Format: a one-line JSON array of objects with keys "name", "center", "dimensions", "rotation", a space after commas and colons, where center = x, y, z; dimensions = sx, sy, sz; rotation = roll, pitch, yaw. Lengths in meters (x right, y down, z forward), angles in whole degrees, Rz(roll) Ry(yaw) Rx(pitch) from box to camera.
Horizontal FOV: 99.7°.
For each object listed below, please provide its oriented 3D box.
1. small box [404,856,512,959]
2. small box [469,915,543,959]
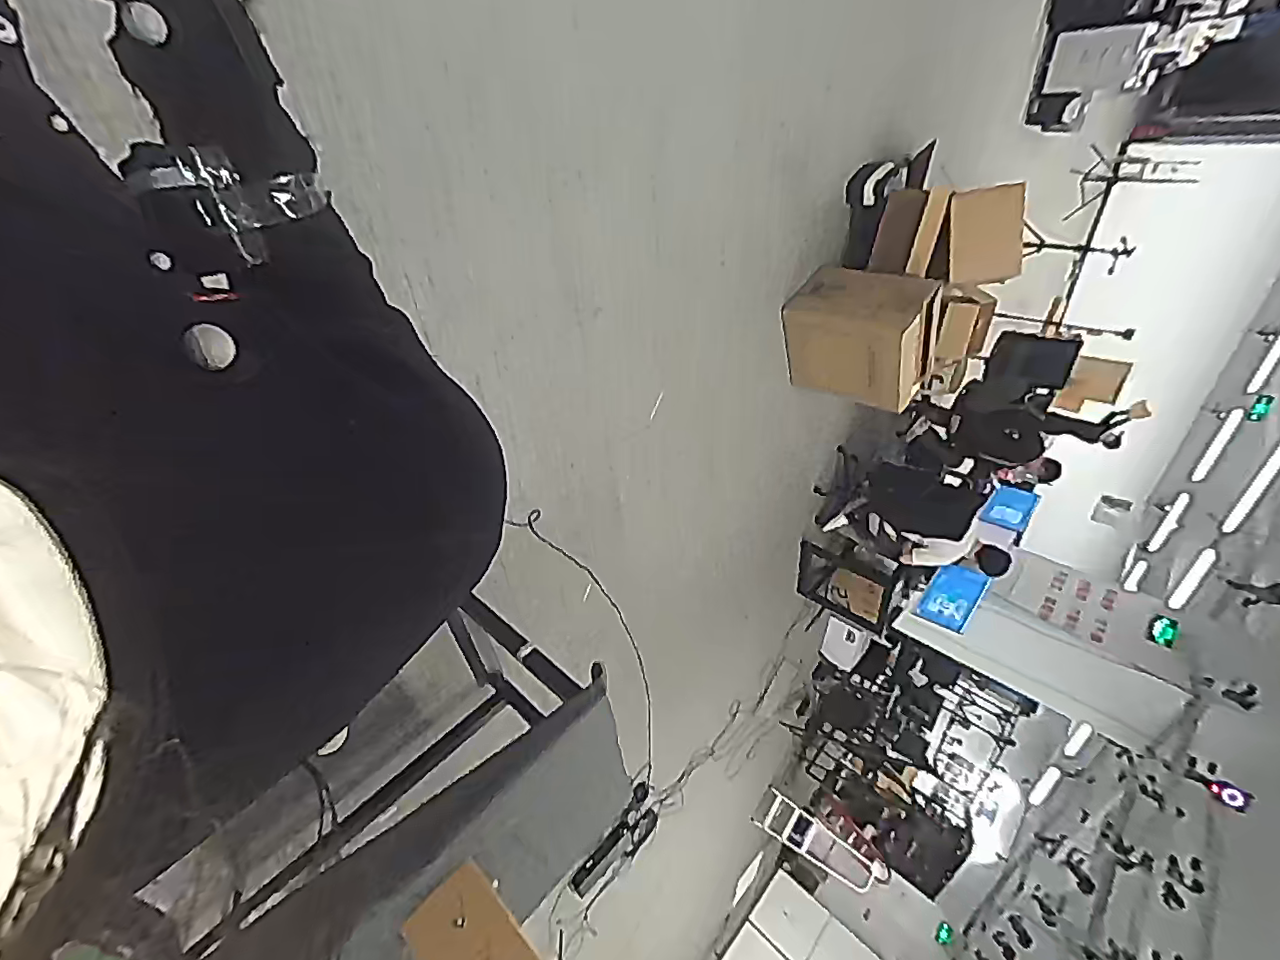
[{"name": "small box", "center": [-0.387, 0.982, 1.180], "dimensions": [0.179, 0.176, 0.168], "rotation": [-36, 136, -30]}, {"name": "small box", "center": [-0.268, 1.043, 1.087], "dimensions": [0.179, 0.176, 0.168], "rotation": [-34, 135, -33]}]
